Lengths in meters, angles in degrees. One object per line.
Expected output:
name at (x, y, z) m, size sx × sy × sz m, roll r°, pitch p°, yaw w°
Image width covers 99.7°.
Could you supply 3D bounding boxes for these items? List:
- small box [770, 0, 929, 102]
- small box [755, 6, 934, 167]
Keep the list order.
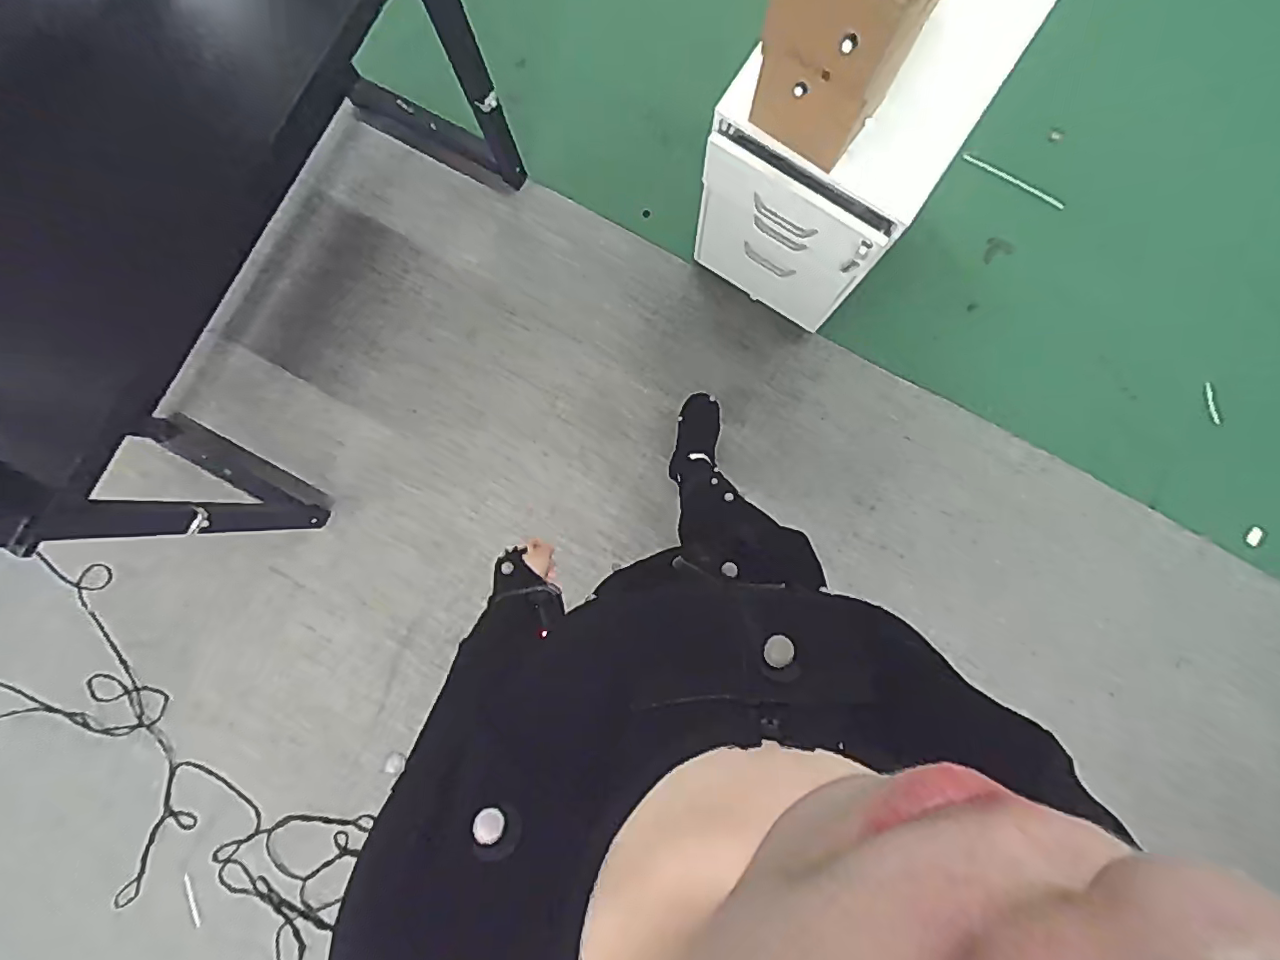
small box at (0.284, -0.641, 0.688) m, size 0.168 × 0.176 × 0.179 m, roll 33°, pitch 87°, yaw 3°
small box at (0.305, -0.642, 0.849) m, size 0.179 × 0.176 × 0.168 m, roll 36°, pitch 87°, yaw 3°
